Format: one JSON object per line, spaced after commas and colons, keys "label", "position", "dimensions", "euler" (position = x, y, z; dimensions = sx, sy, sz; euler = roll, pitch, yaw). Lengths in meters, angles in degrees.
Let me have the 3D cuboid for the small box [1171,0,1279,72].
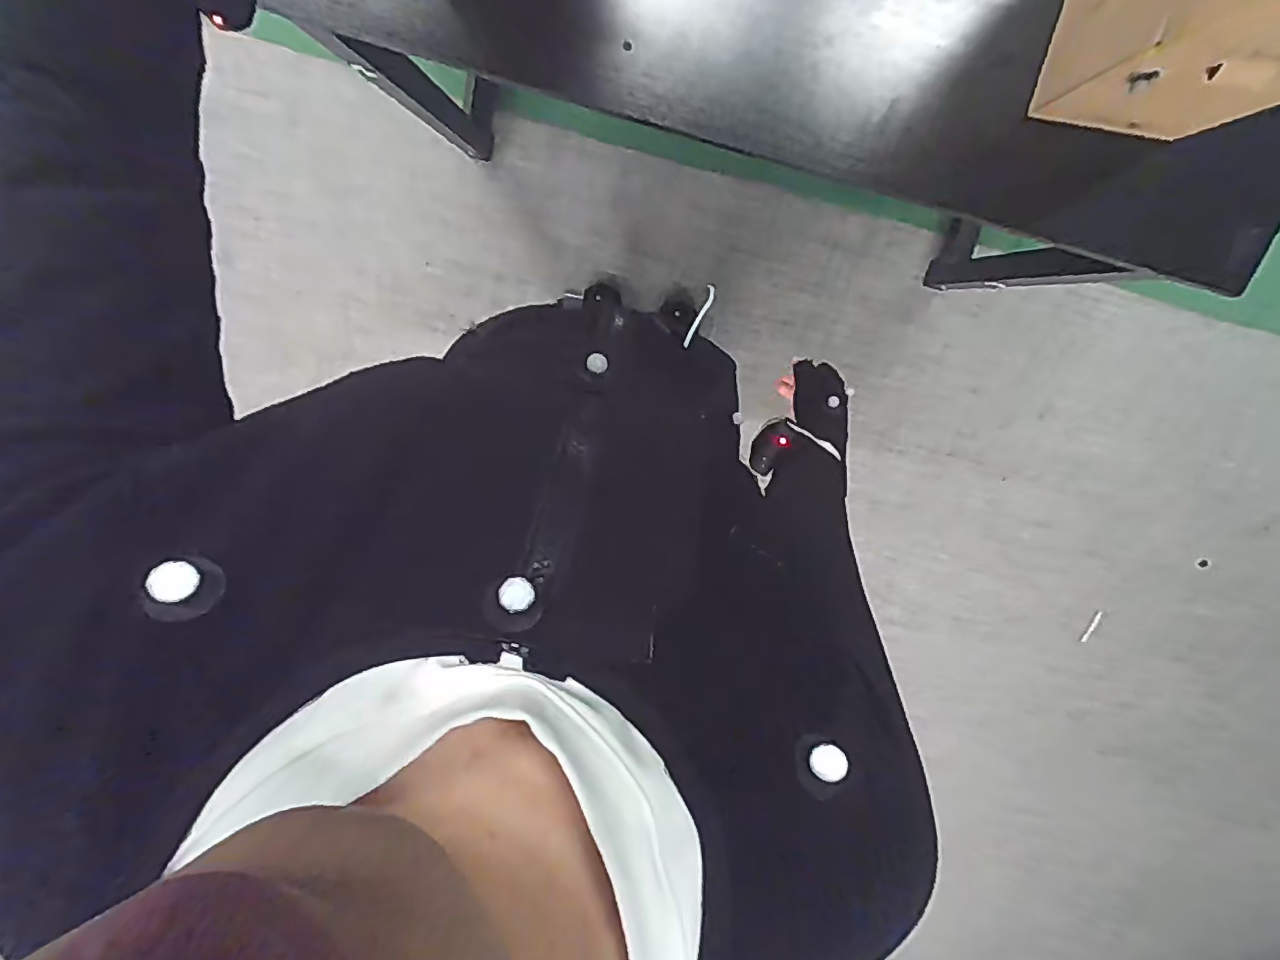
{"label": "small box", "position": [0.506, -0.394, 0.338], "dimensions": [0.168, 0.176, 0.179], "euler": [7, 108, 0]}
